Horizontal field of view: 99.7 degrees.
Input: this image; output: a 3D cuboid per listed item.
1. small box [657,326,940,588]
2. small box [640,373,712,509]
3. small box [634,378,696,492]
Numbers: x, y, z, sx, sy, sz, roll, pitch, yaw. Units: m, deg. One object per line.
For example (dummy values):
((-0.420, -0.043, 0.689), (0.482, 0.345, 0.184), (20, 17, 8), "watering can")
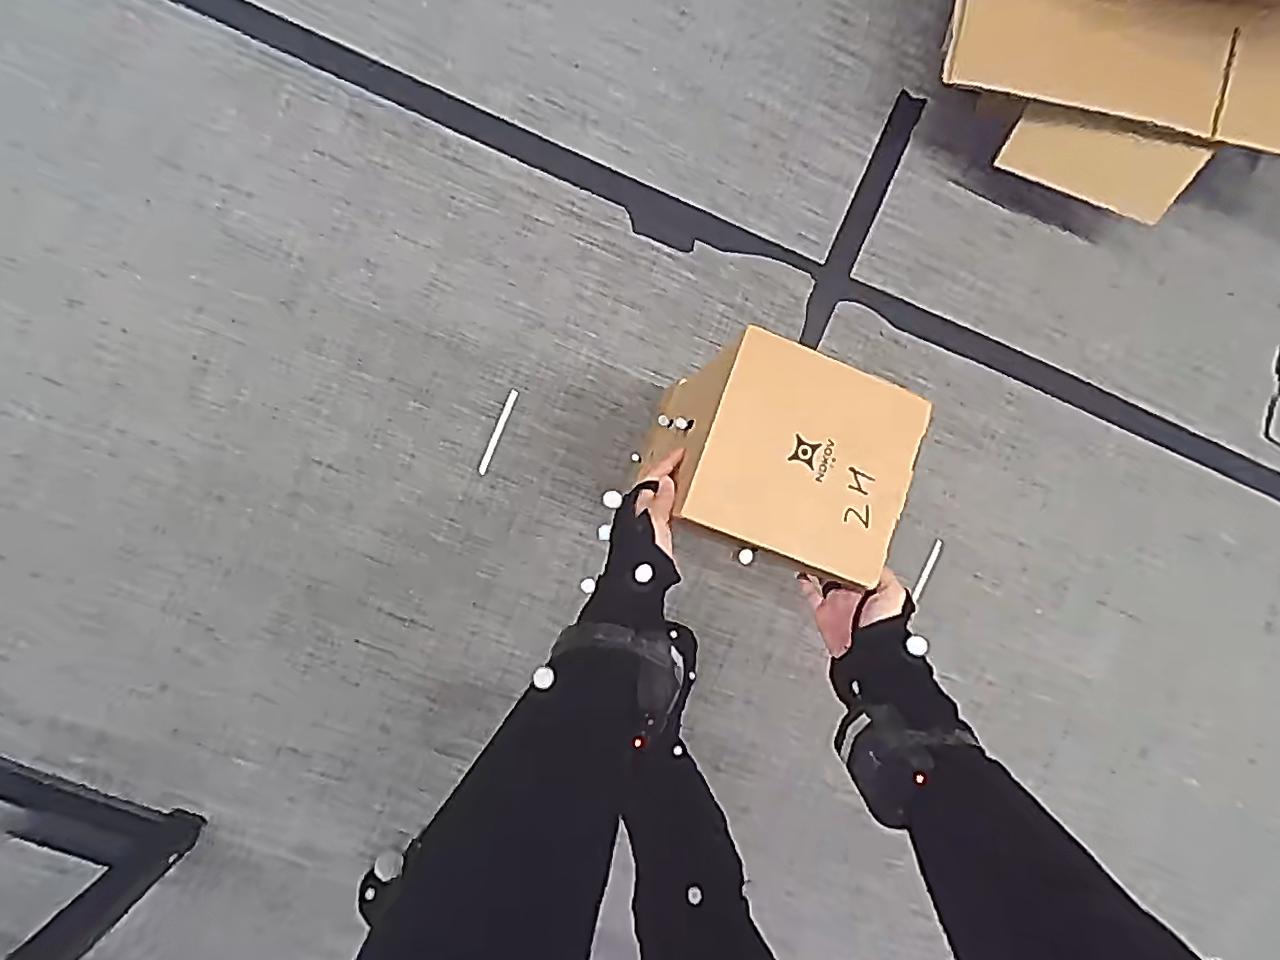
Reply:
((0.130, -0.012, 0.508), (0.179, 0.176, 0.168), (21, 84, -8), "small box")
((0.111, -0.017, 0.685), (0.179, 0.176, 0.168), (23, 92, -8), "small box")
((0.096, -0.039, 0.846), (0.168, 0.176, 0.179), (22, 91, -7), "small box")
